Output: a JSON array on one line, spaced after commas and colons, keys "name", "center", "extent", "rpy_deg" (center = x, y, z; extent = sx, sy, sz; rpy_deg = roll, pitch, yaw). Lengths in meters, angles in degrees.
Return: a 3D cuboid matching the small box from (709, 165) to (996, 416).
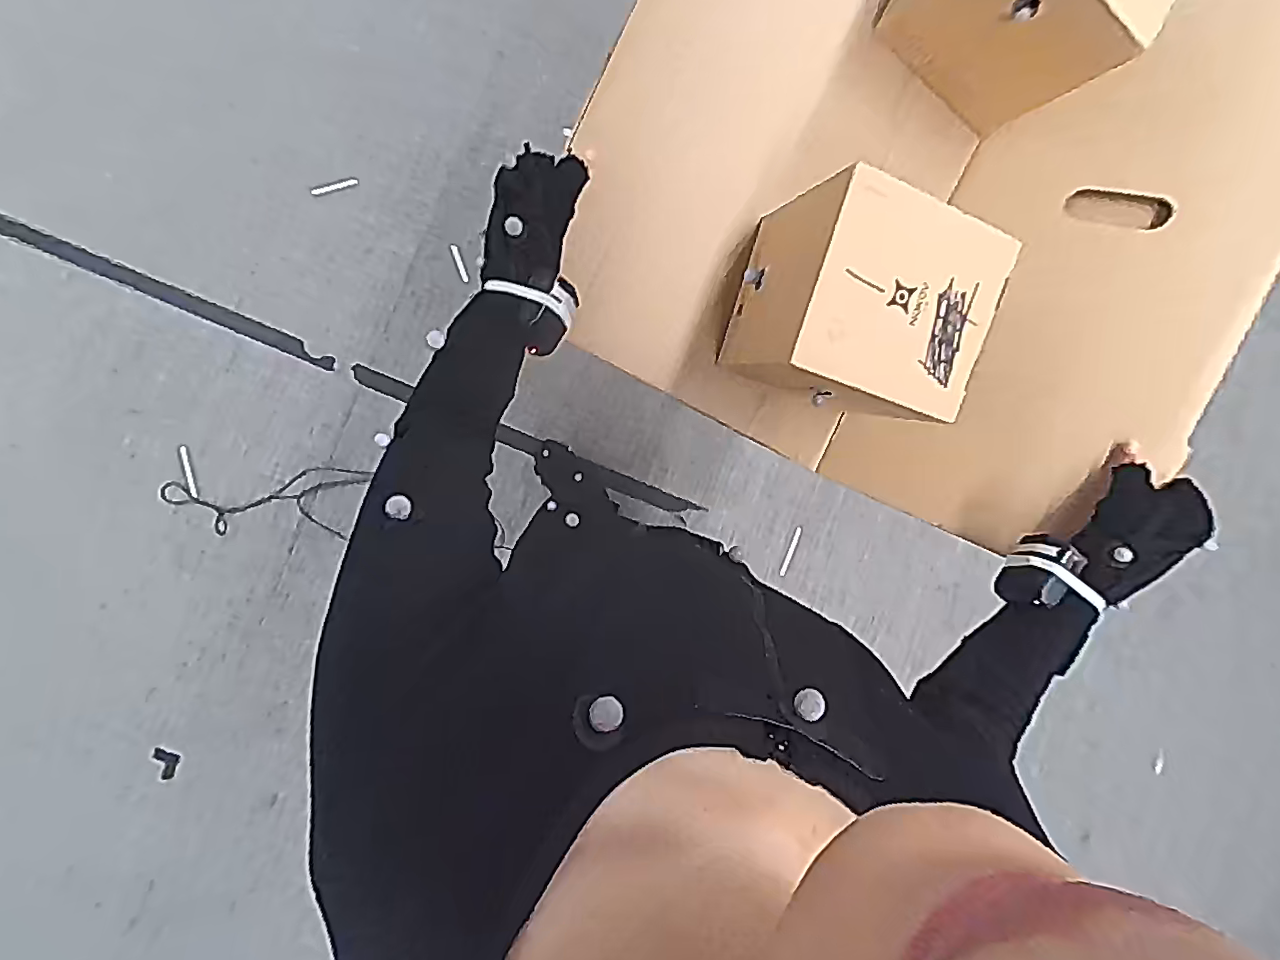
[{"name": "small box", "center": [0.195, -0.171, 0.540], "extent": [0.179, 0.176, 0.168], "rpy_deg": [15, 96, -16]}]
